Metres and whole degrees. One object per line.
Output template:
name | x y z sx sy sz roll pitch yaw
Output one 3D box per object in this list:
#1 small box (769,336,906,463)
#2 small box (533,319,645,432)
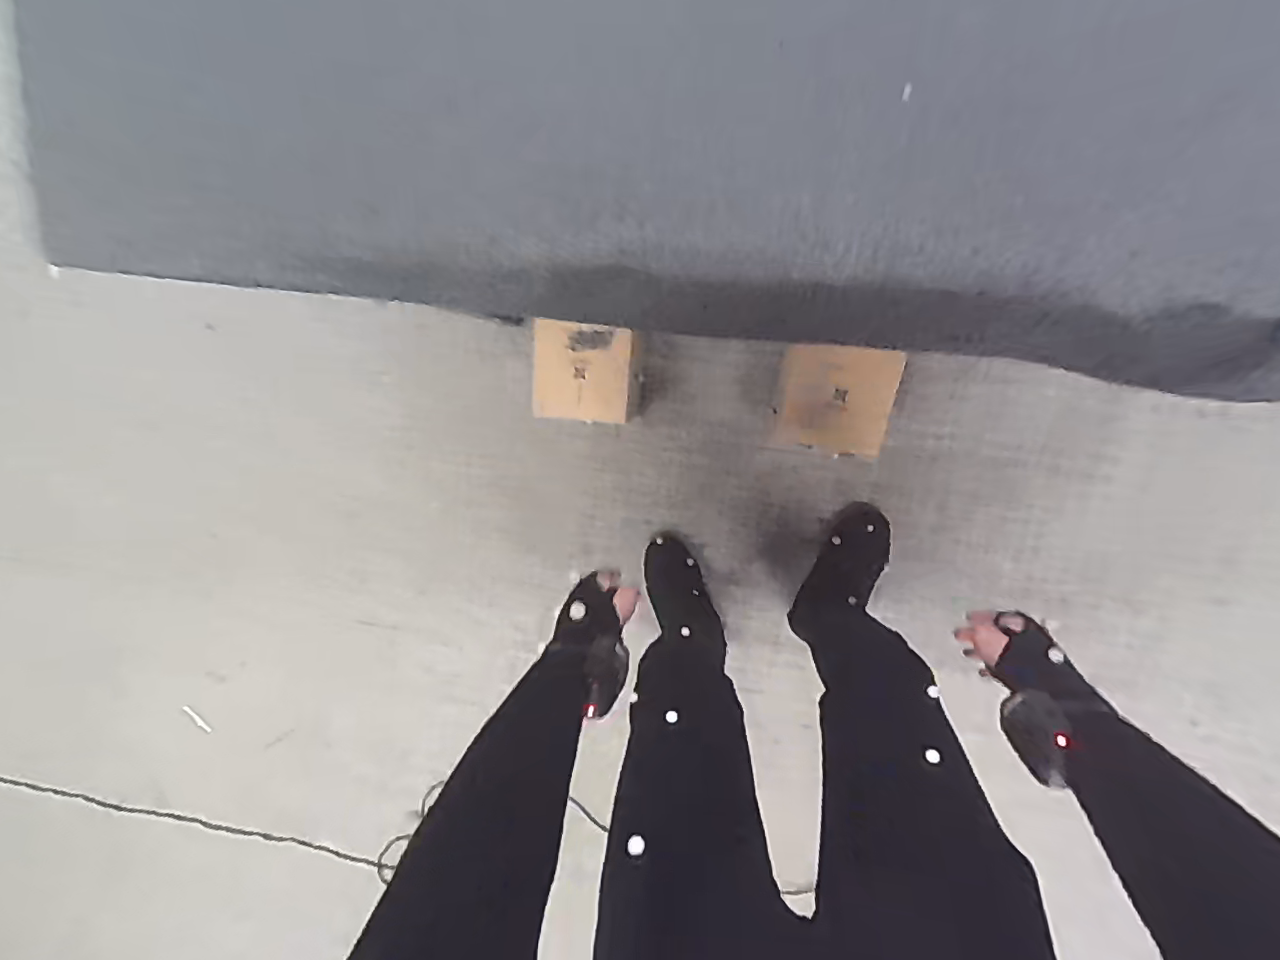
small box | 0.324 -0.138 0.925 0.168 0.176 0.179 11 100 5
small box | -0.085 -0.187 0.972 0.168 0.176 0.179 5 102 8
